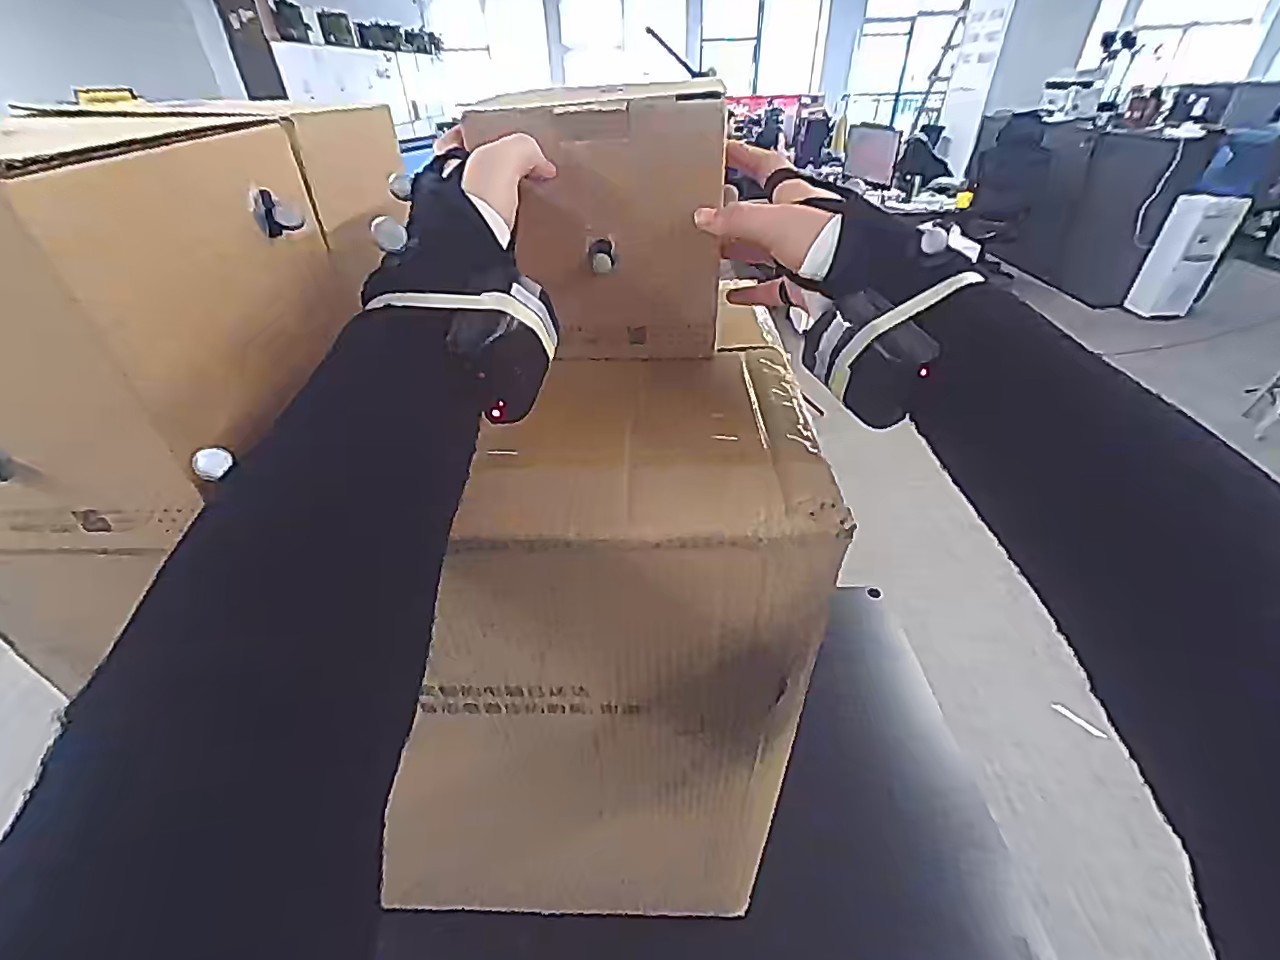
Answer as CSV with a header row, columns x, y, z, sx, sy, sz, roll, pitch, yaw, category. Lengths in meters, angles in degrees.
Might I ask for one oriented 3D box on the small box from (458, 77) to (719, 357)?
x,y,z,sx,sy,sz,roll,pitch,yaw,category
-0.020,-0.211,0.438,0.168,0.176,0.179,1,40,6,small box
